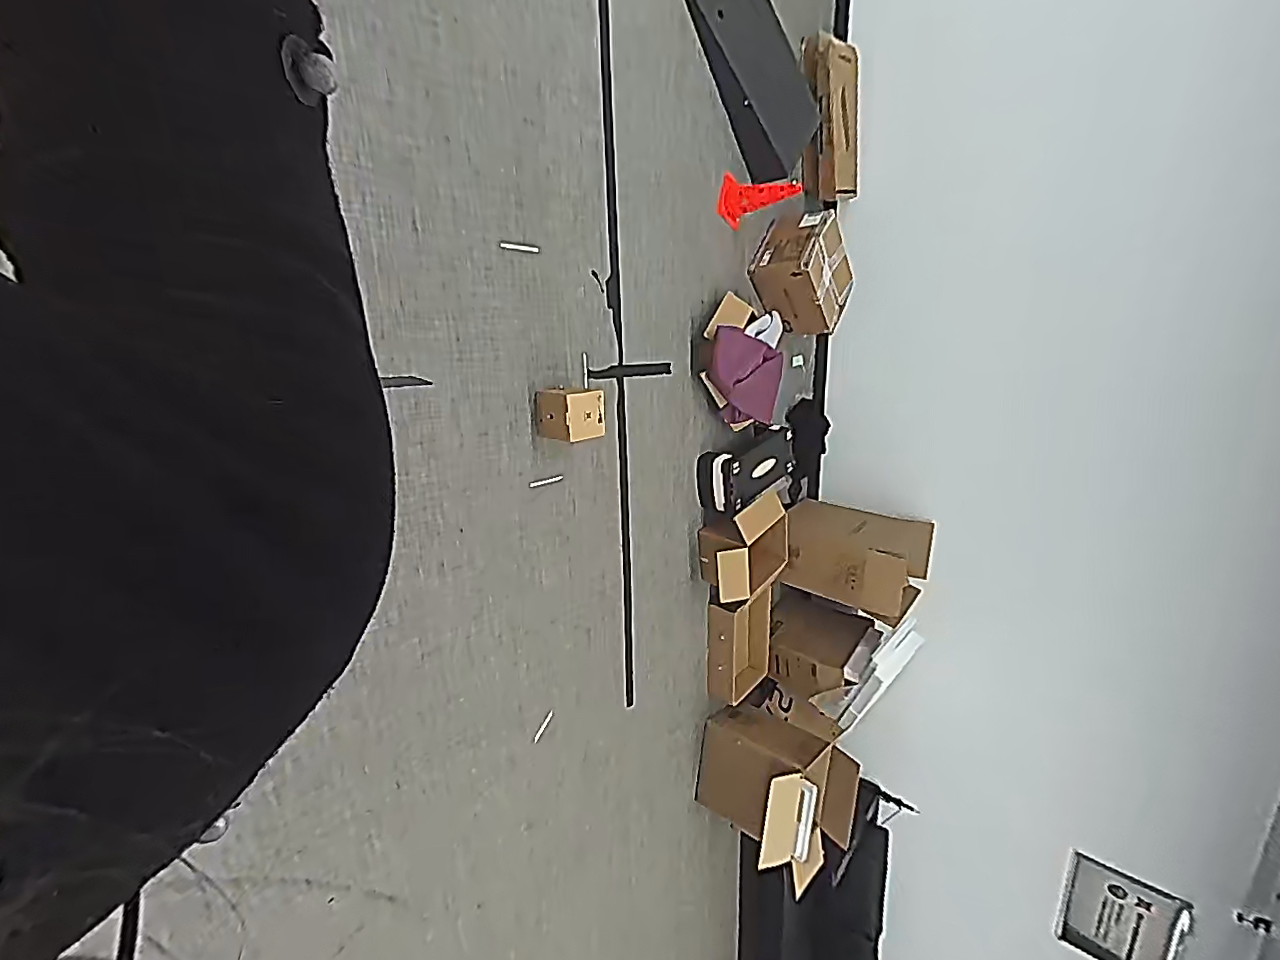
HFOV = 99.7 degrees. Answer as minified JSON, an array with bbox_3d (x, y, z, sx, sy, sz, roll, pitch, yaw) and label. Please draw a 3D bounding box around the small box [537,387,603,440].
[{"bbox_3d":[-0.252,-0.242,1.922,0.179,0.176,0.168,-17,112,-46],"label":"small box"}]
